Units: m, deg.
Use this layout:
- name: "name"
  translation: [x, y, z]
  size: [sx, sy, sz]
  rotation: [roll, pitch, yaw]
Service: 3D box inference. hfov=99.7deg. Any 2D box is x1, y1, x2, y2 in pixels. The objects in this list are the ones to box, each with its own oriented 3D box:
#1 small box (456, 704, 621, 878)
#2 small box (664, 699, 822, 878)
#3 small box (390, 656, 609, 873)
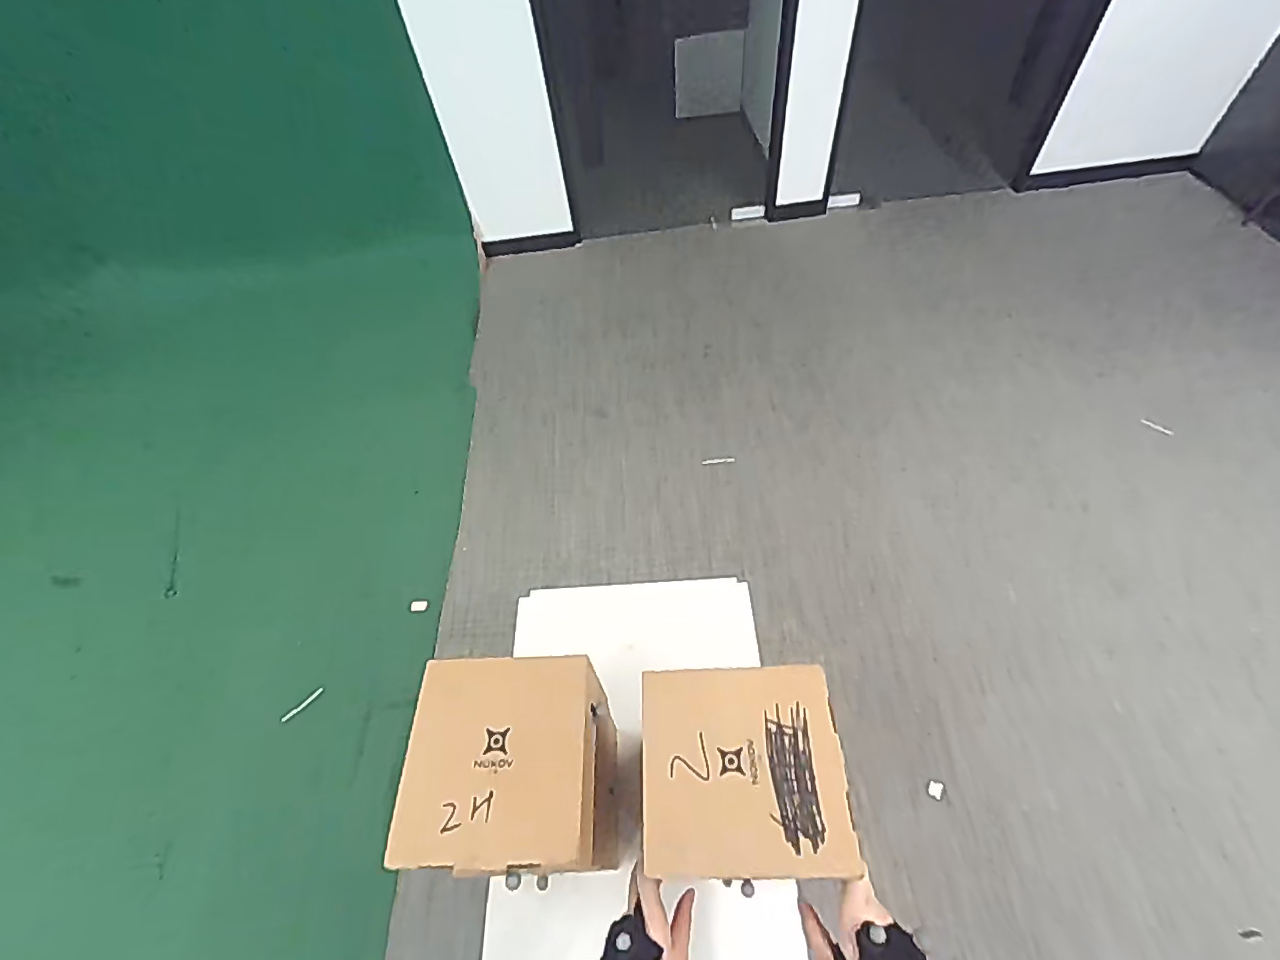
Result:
- name: "small box"
  translation: [-0.116, 0.398, 0.691]
  size: [0.168, 0.176, 0.179]
  rotation: [-4, 54, 3]
- name: "small box"
  translation: [0.115, 0.387, 0.674]
  size: [0.168, 0.176, 0.179]
  rotation: [-4, 54, 5]
- name: "small box"
  translation: [-0.124, 0.298, 0.561]
  size: [0.168, 0.176, 0.179]
  rotation: [-3, 54, 3]
